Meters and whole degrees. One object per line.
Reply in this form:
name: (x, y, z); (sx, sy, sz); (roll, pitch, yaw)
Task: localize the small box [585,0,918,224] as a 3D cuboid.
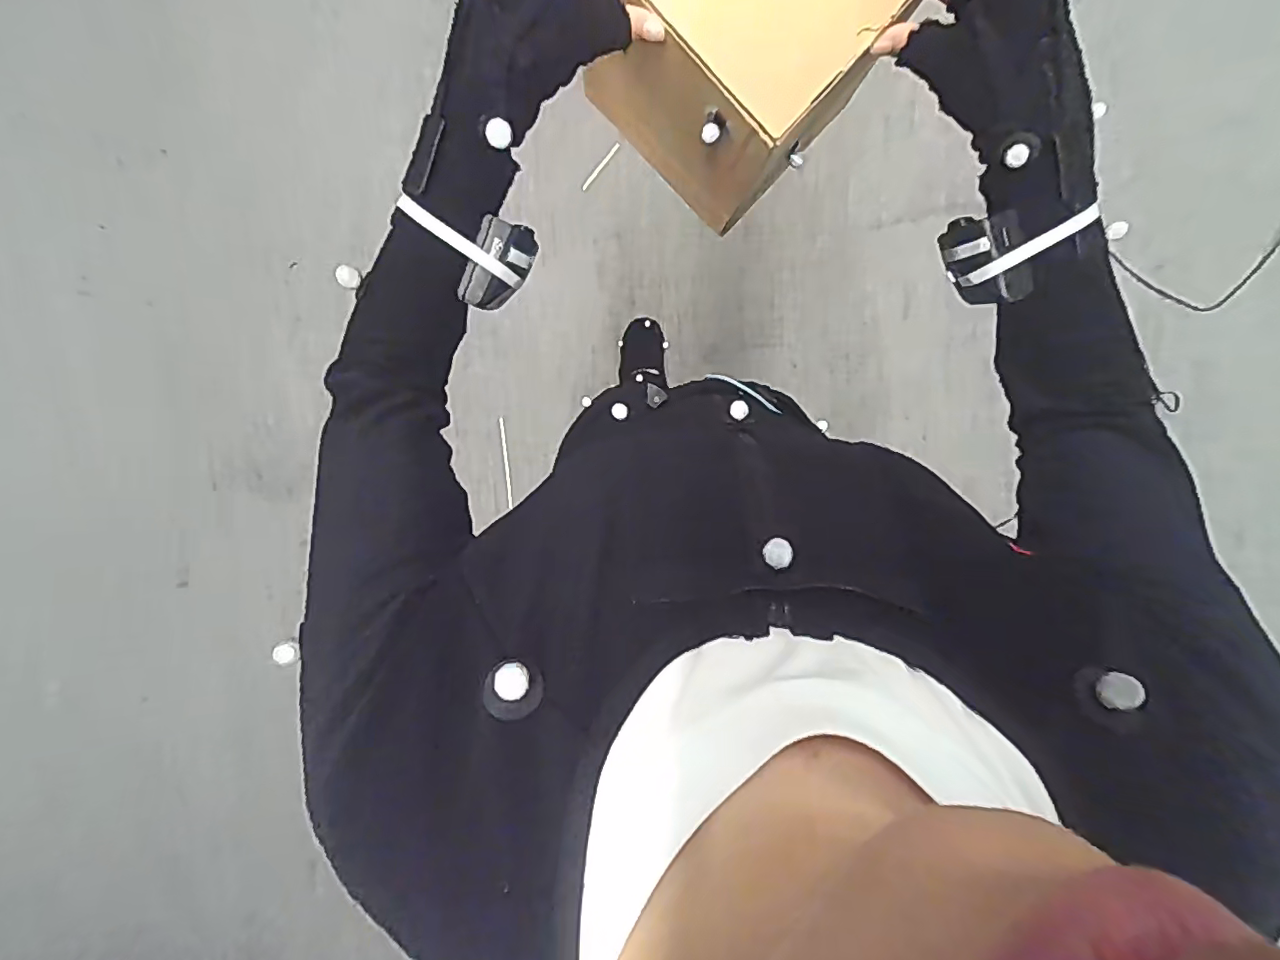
small box: (0.069, -0.336, 0.410); (0.179, 0.176, 0.168); (44, 91, -7)
